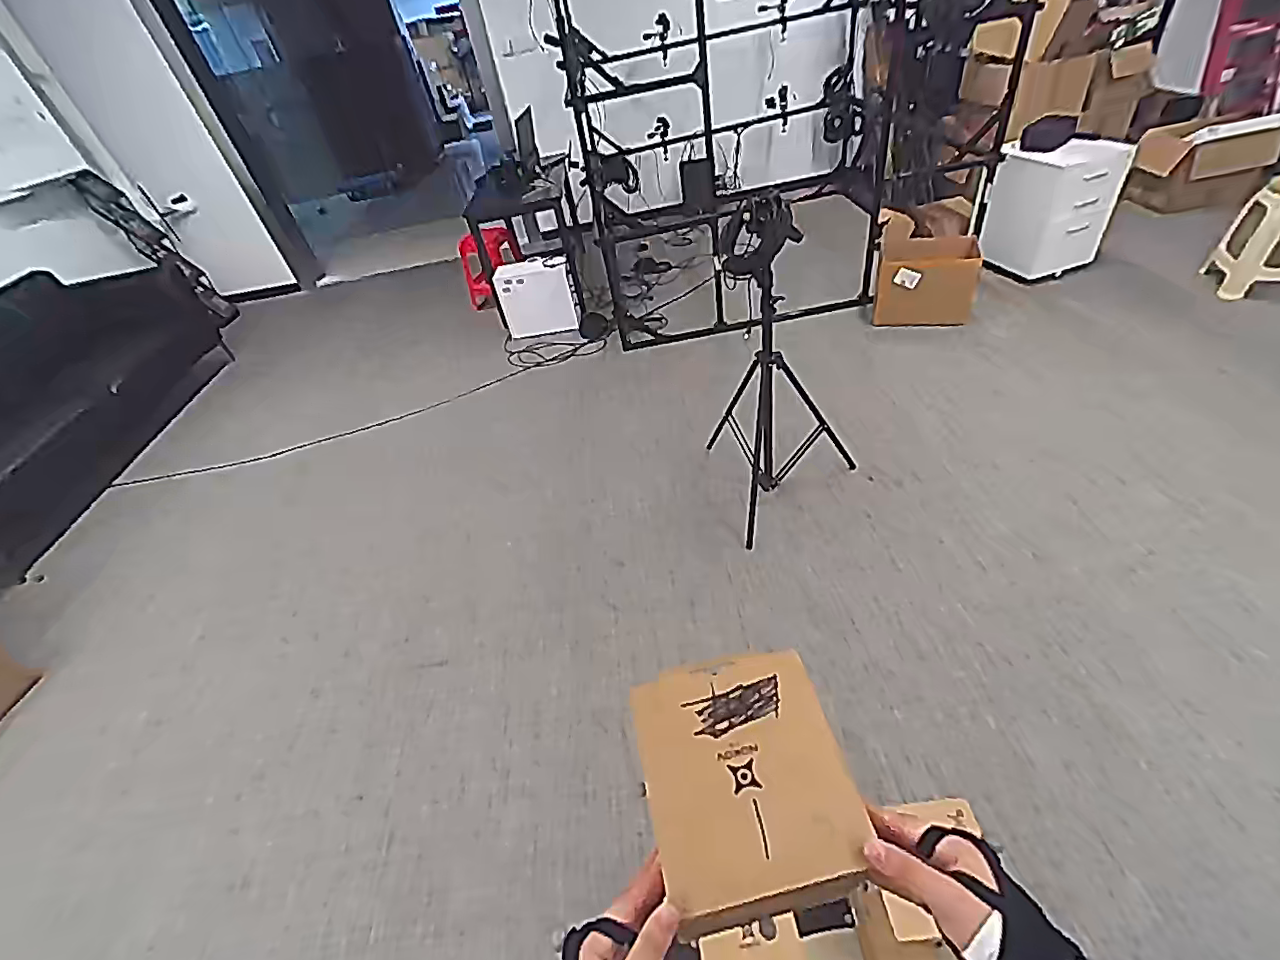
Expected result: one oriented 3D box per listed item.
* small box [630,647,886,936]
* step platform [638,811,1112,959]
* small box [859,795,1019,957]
[{"bbox_3d":[0.091,0.288,0.503,0.168,0.176,0.179,-13,46,-4],"label":"small box"},{"bbox_3d":[0.348,0.779,0.878,0.684,0.204,0.286,-11,41,1],"label":"step platform"},{"bbox_3d":[0.437,0.619,0.843,0.179,0.176,0.168,-9,41,4],"label":"small box"}]
